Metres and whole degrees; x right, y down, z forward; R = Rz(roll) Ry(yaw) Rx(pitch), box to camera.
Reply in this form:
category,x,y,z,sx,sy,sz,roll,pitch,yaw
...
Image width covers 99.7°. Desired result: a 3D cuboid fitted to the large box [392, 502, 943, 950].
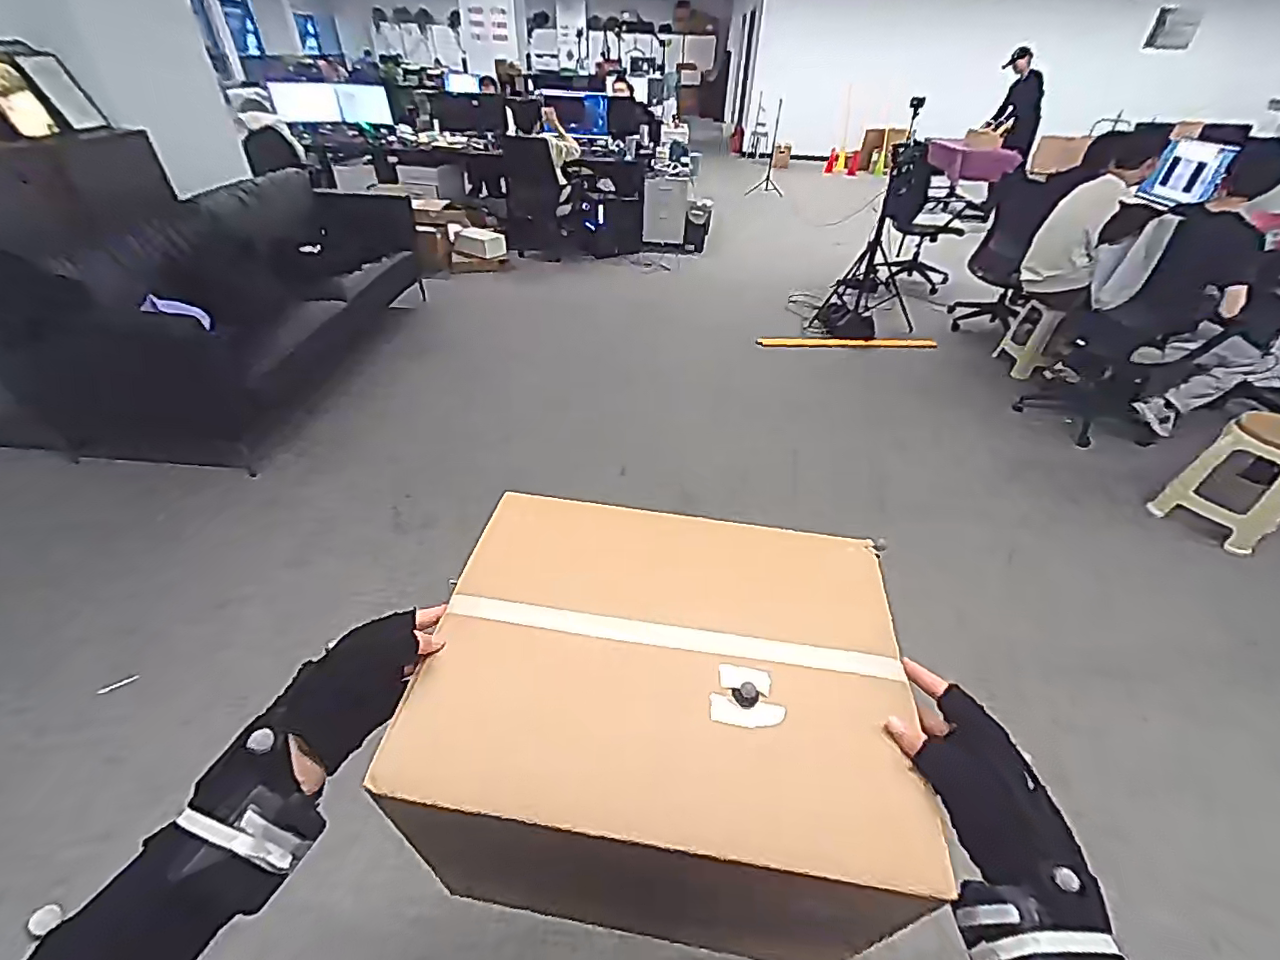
category,x,y,z,sx,sy,sz,roll,pitch,yaw
large box,0.025,0.256,0.588,0.408,0.320,0.320,7,42,5
